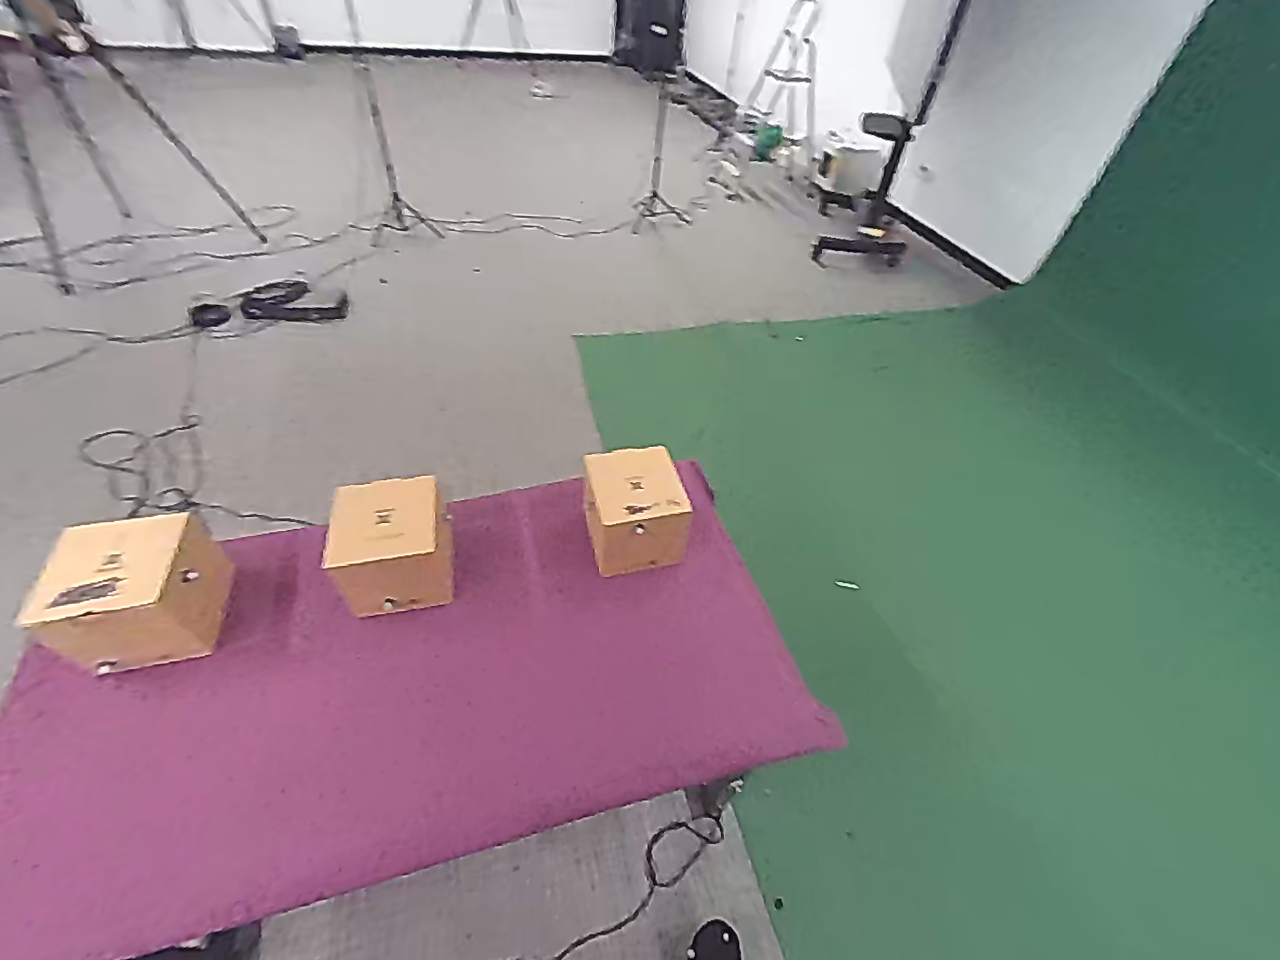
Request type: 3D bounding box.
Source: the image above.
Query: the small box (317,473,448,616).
[{"bbox_3d":[-0.440,0.114,0.953,0.168,0.176,0.179,-7,50,-13],"label":"small box"}]

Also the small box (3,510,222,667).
[{"bbox_3d":[-0.798,0.175,0.847,0.168,0.176,0.179,-8,50,-15],"label":"small box"}]

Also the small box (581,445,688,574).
[{"bbox_3d":[-0.020,0.057,1.054,0.168,0.176,0.179,-9,50,-14],"label":"small box"}]
